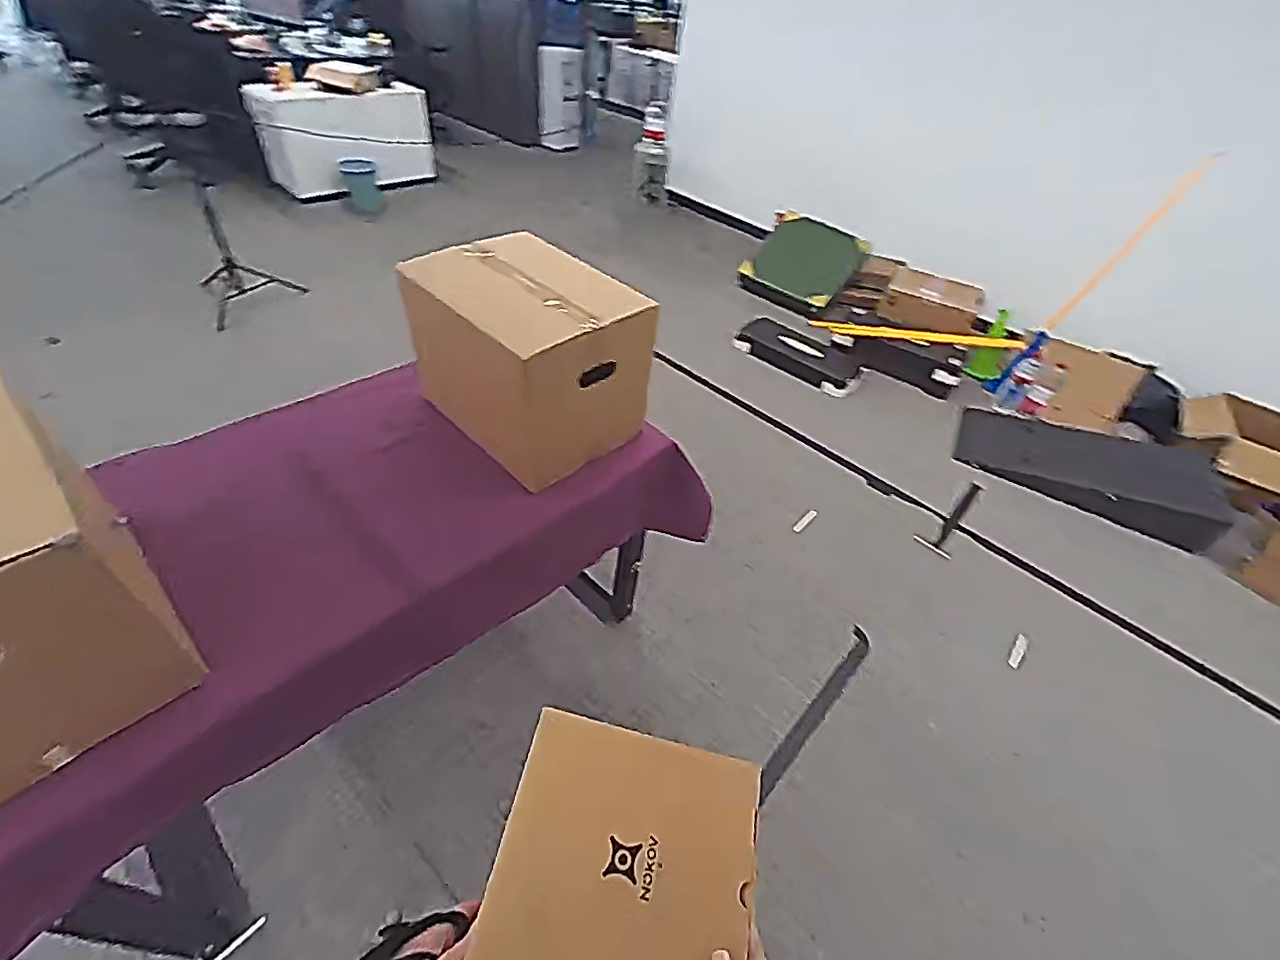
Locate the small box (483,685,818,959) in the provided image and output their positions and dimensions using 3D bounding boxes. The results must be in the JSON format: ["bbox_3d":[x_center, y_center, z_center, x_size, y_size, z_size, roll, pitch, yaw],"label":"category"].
[{"bbox_3d":[0.001,0.288,0.392,0.168,0.176,0.179,27,28,-15],"label":"small box"}]
